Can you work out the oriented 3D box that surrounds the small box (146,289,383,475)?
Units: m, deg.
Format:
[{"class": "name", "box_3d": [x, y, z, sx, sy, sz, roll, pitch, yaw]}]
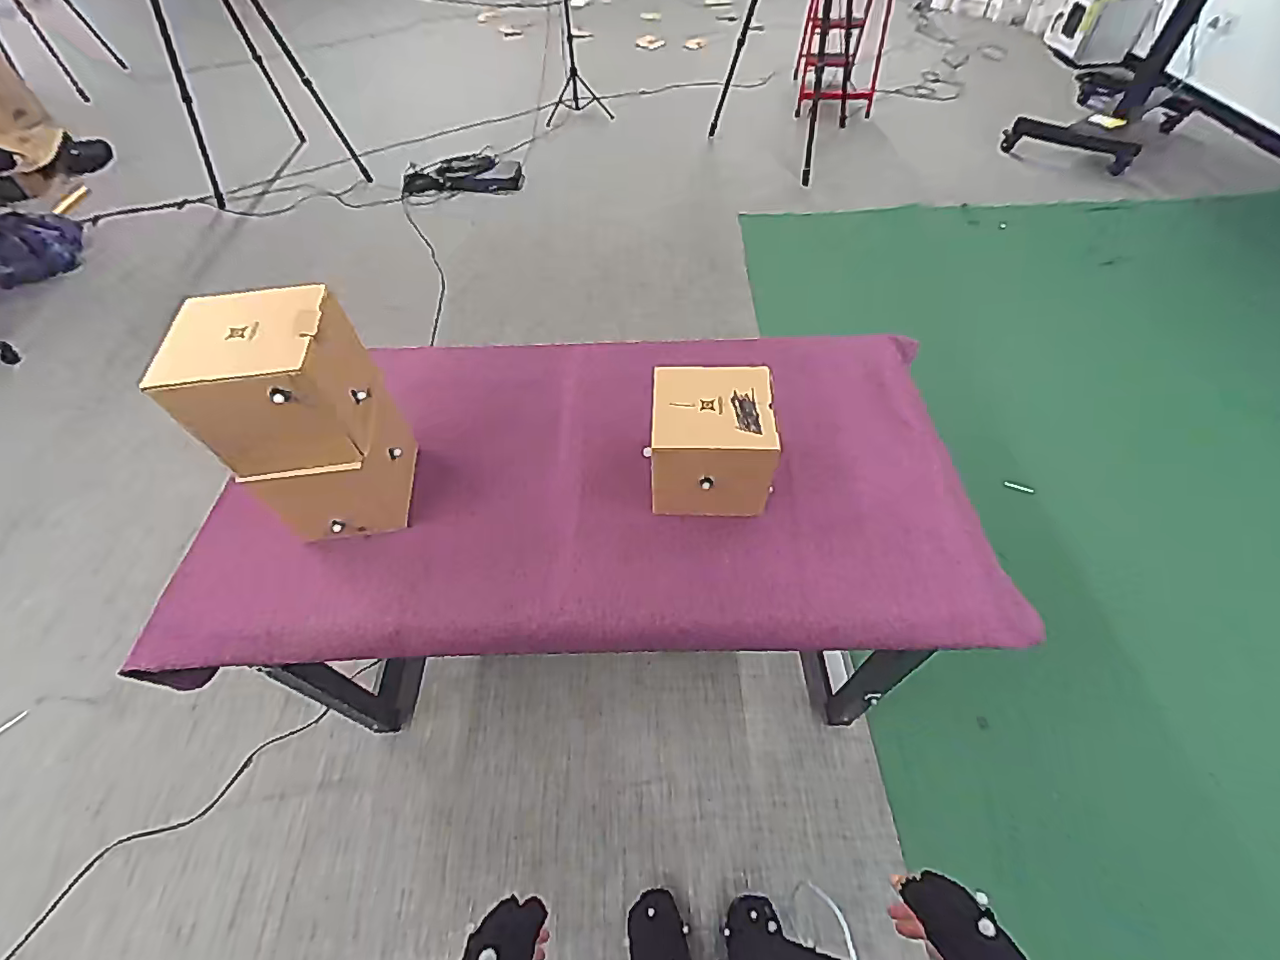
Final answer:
[{"class": "small box", "box_3d": [-0.470, -0.123, 0.713, 0.179, 0.176, 0.168, -9, 54, -4]}]

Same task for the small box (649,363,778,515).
[{"class": "small box", "box_3d": [0.108, -0.059, 0.836, 0.179, 0.176, 0.168, 3, 52, 5]}]
